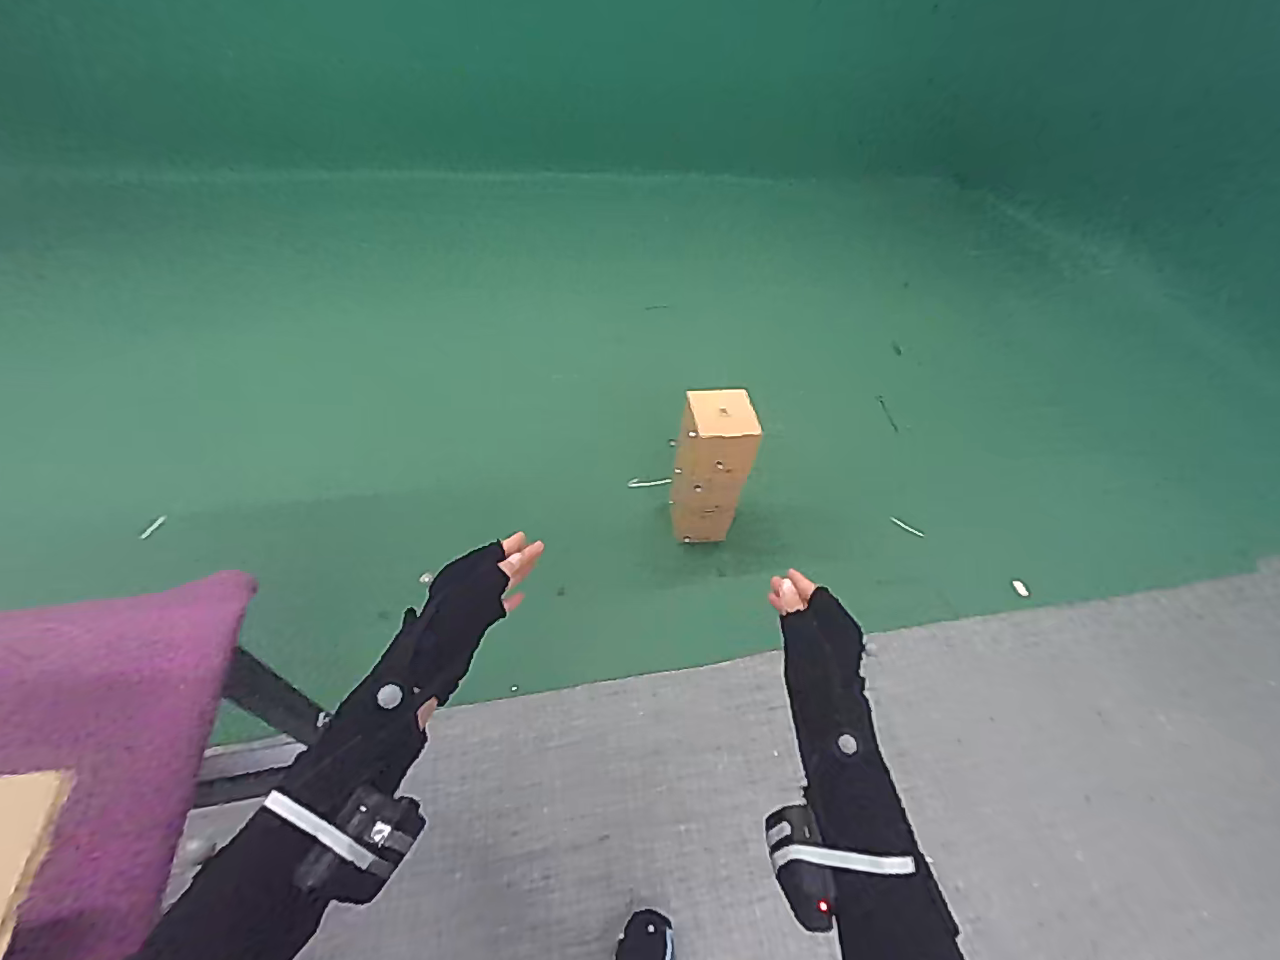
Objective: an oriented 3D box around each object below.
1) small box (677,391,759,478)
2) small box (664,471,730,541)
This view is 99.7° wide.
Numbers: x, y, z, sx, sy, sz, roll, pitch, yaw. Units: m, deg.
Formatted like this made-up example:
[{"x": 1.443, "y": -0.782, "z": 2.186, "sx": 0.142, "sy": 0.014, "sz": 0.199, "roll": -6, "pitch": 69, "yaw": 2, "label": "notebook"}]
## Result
[{"x": 0.206, "y": -0.124, "z": 1.486, "sx": 0.168, "sy": 0.176, "sz": 0.179, "roll": -3, "pitch": 51, "yaw": -10, "label": "small box"}, {"x": 0.177, "y": 0.085, "z": 1.737, "sx": 0.168, "sy": 0.176, "sz": 0.179, "roll": -5, "pitch": 53, "yaw": -10, "label": "small box"}]
